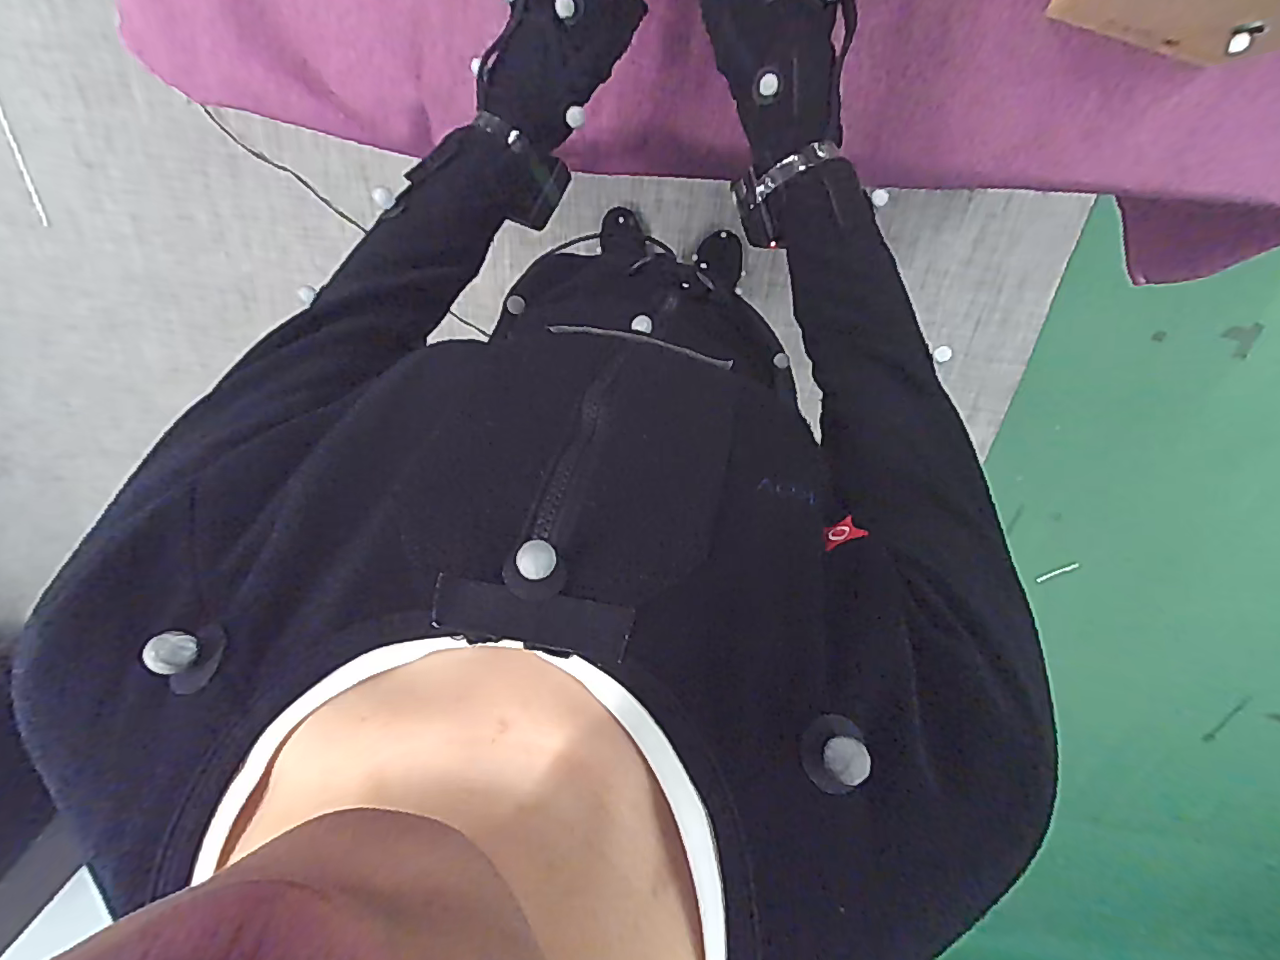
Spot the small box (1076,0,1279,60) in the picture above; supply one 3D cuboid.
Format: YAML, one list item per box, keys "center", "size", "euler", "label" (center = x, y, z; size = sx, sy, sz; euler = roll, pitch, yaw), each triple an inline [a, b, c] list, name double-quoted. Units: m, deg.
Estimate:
- center: [0.461, -0.434, 0.381]
  size: [0.168, 0.176, 0.179]
  euler: [16, 118, -3]
  label: "small box"
